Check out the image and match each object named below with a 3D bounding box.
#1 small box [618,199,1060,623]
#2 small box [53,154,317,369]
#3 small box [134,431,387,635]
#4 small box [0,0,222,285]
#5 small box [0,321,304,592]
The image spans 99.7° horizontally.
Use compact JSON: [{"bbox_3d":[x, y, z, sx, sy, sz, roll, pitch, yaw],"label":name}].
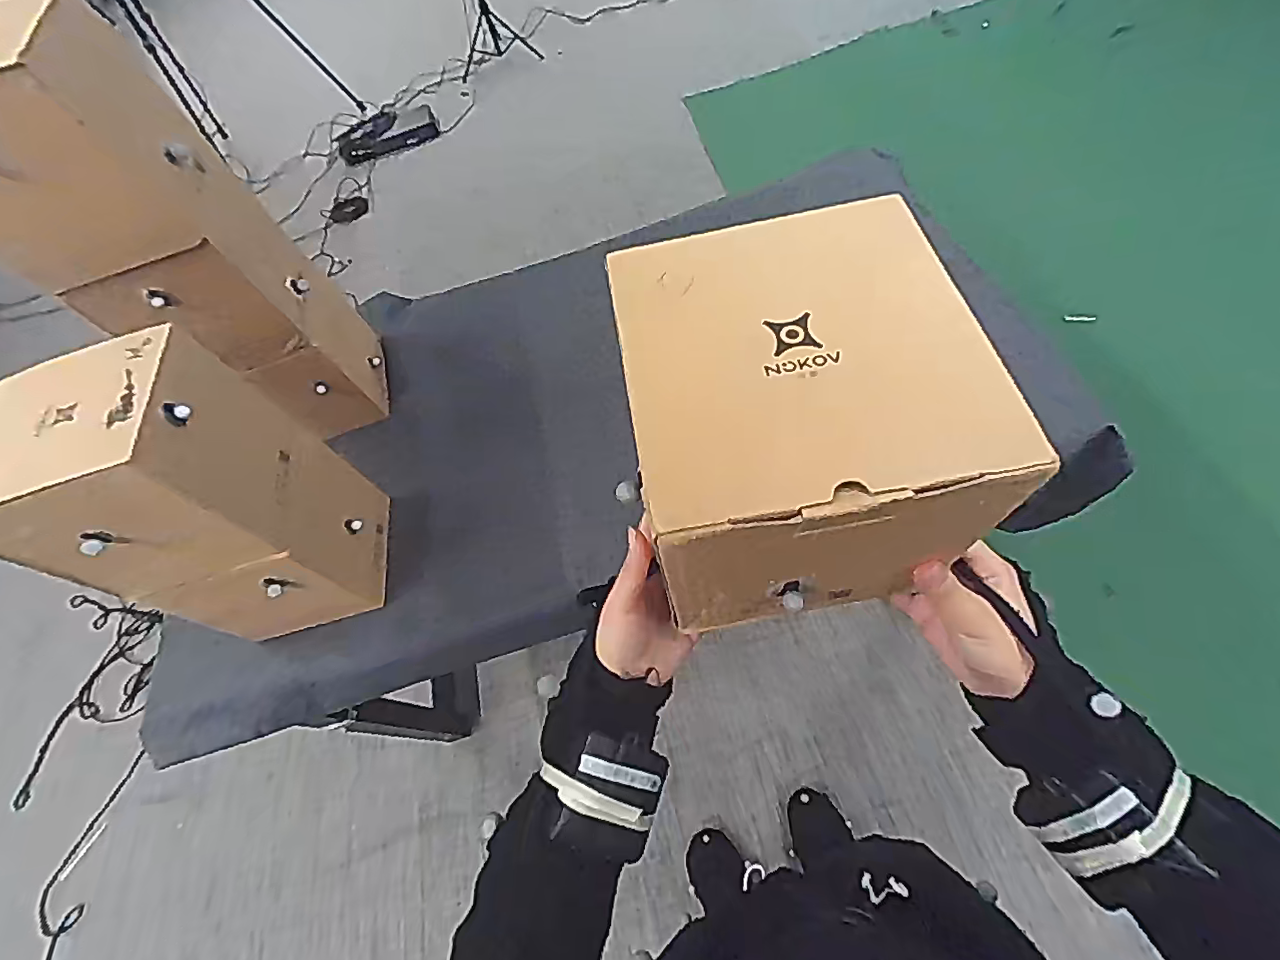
[{"bbox_3d":[0.085,-0.029,0.328,0.168,0.176,0.179,-10,62,2],"label":"small box"},{"bbox_3d":[-0.535,-0.250,0.665,0.179,0.176,0.168,-20,62,-1],"label":"small box"},{"bbox_3d":[-0.432,0.071,0.653,0.179,0.176,0.168,-15,57,3],"label":"small box"},{"bbox_3d":[-0.556,-0.319,0.517,0.179,0.176,0.168,-18,62,0],"label":"small box"},{"bbox_3d":[-0.466,-0.012,0.517,0.179,0.176,0.168,-19,58,2],"label":"small box"}]
